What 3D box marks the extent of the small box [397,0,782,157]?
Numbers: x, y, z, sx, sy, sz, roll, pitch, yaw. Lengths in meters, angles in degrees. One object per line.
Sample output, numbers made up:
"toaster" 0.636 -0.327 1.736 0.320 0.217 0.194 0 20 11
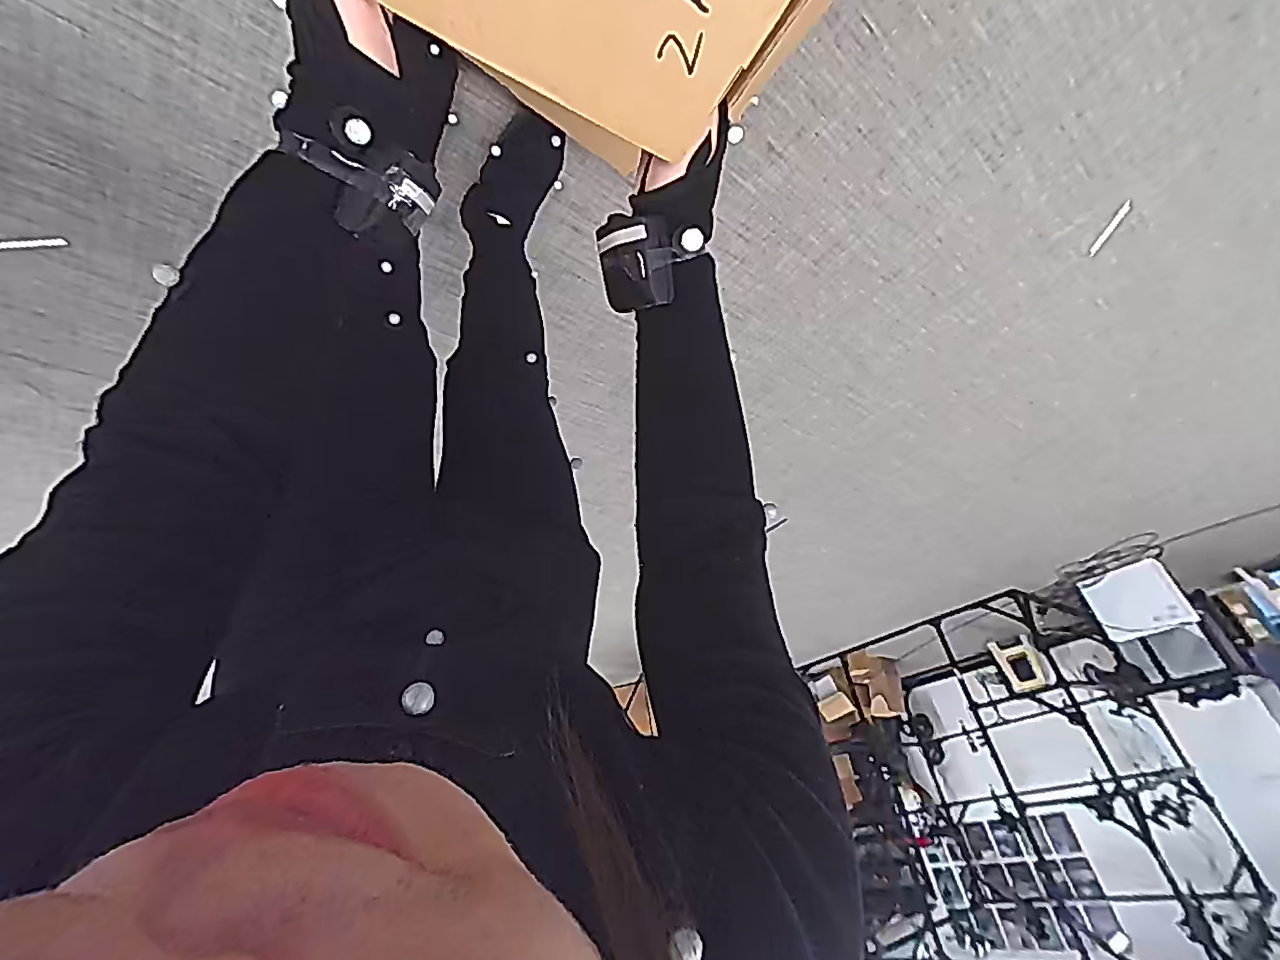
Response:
"small box" -0.019 -0.314 0.264 0.179 0.176 0.168 9 147 -32
